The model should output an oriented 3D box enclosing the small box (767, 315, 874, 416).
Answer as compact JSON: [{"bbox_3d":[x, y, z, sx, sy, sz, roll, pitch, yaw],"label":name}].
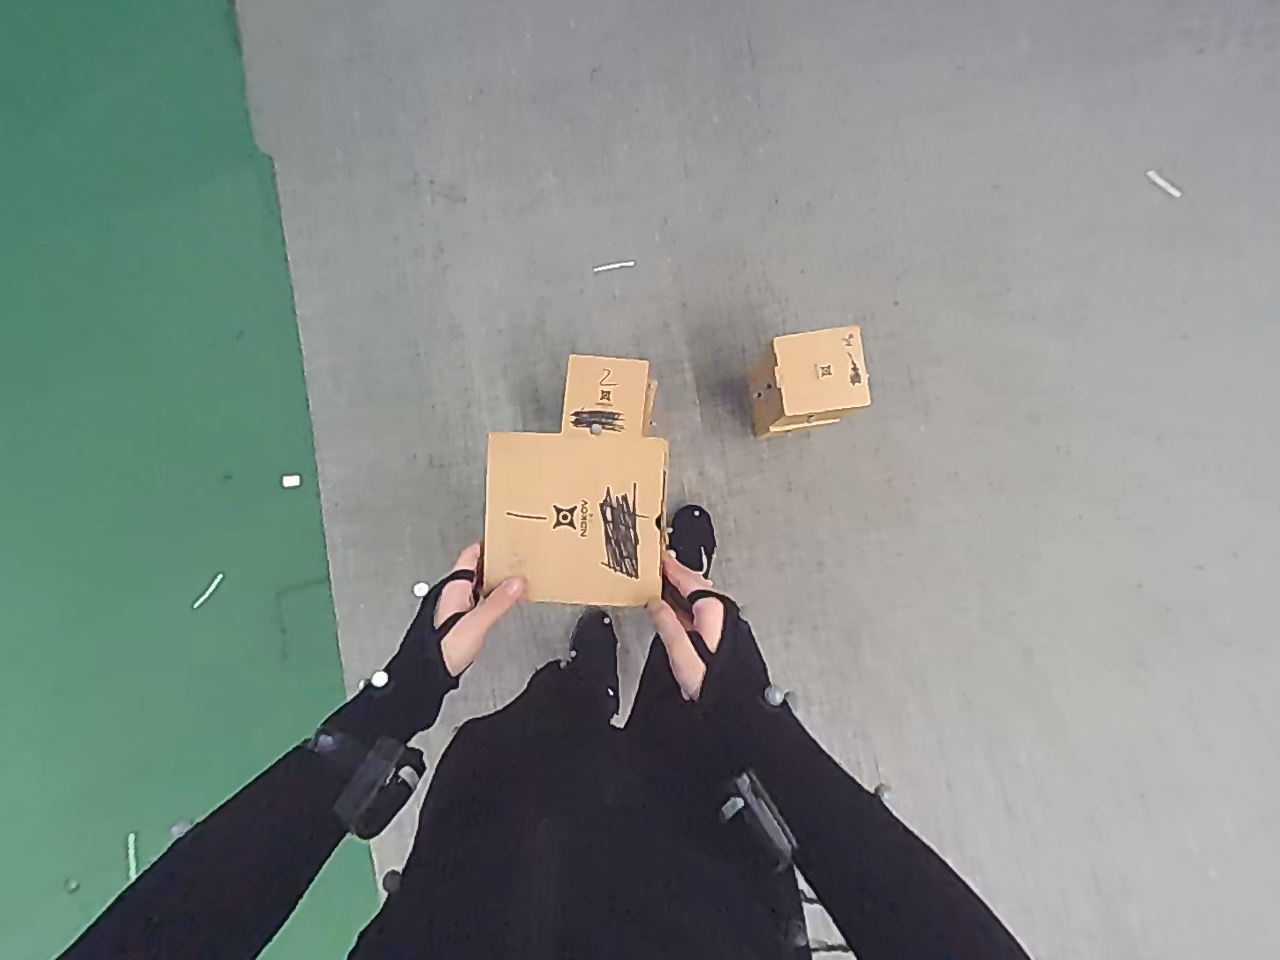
[{"bbox_3d":[0.366,-0.230,1.130,0.179,0.176,0.168,-6,89,4],"label":"small box"}]

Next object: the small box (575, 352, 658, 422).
[{"bbox_3d":[-0.051,-0.192,1.314,0.168,0.176,0.179,13,90,3],"label":"small box"}]

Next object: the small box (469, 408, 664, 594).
[{"bbox_3d":[-0.067,0.015,0.586,0.179,0.176,0.168,4,93,4],"label":"small box"}]

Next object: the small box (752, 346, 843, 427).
[{"bbox_3d":[0.370,-0.224,1.294,0.168,0.176,0.179,-7,89,3],"label":"small box"}]
